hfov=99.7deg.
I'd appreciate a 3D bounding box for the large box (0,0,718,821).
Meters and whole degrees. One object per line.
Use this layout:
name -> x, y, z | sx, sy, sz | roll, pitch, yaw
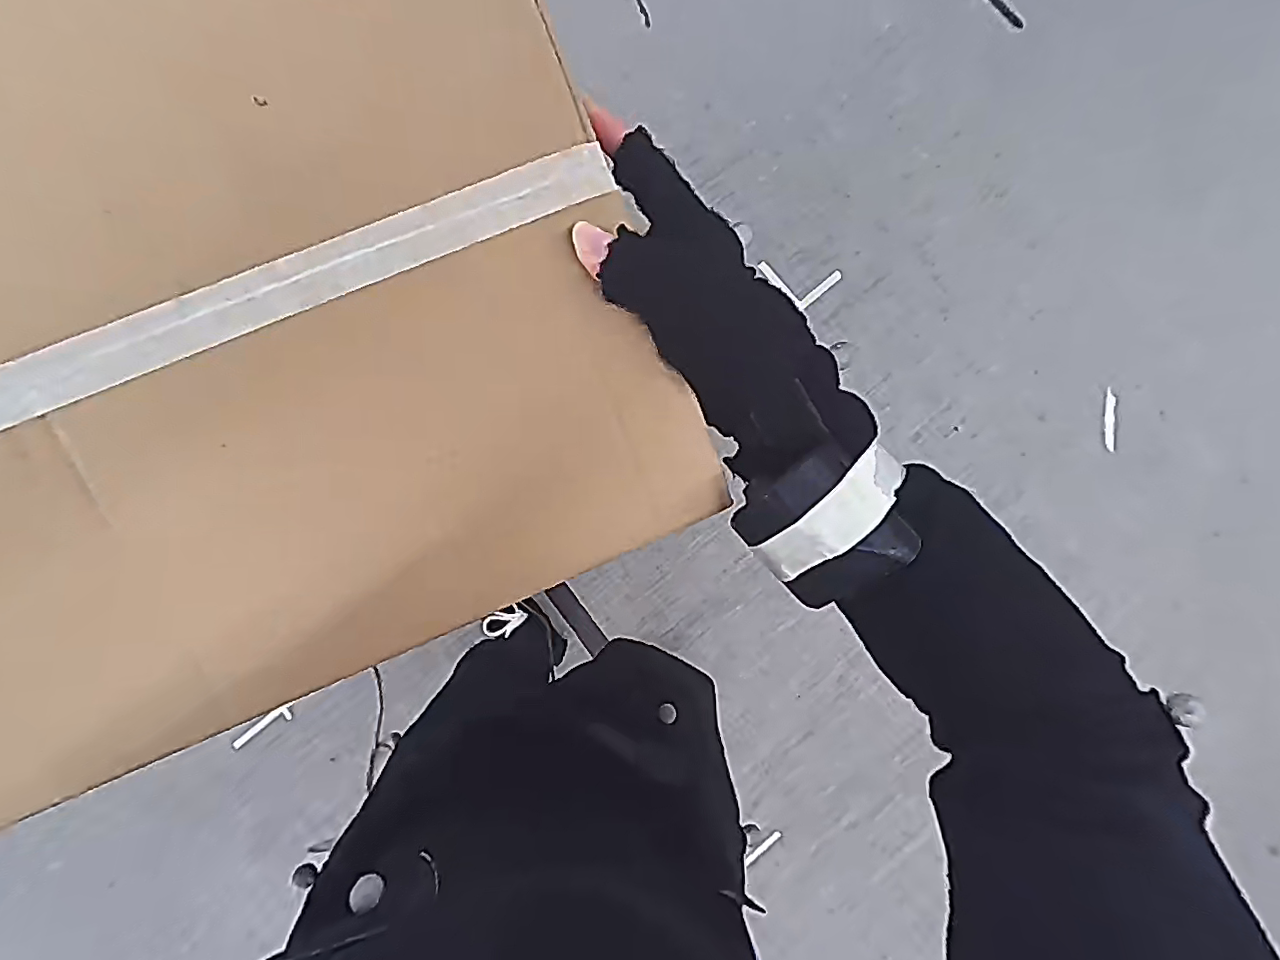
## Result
large box -> -0.217, -0.074, 0.368 | 0.408, 0.320, 0.320 | -23, 100, -5
